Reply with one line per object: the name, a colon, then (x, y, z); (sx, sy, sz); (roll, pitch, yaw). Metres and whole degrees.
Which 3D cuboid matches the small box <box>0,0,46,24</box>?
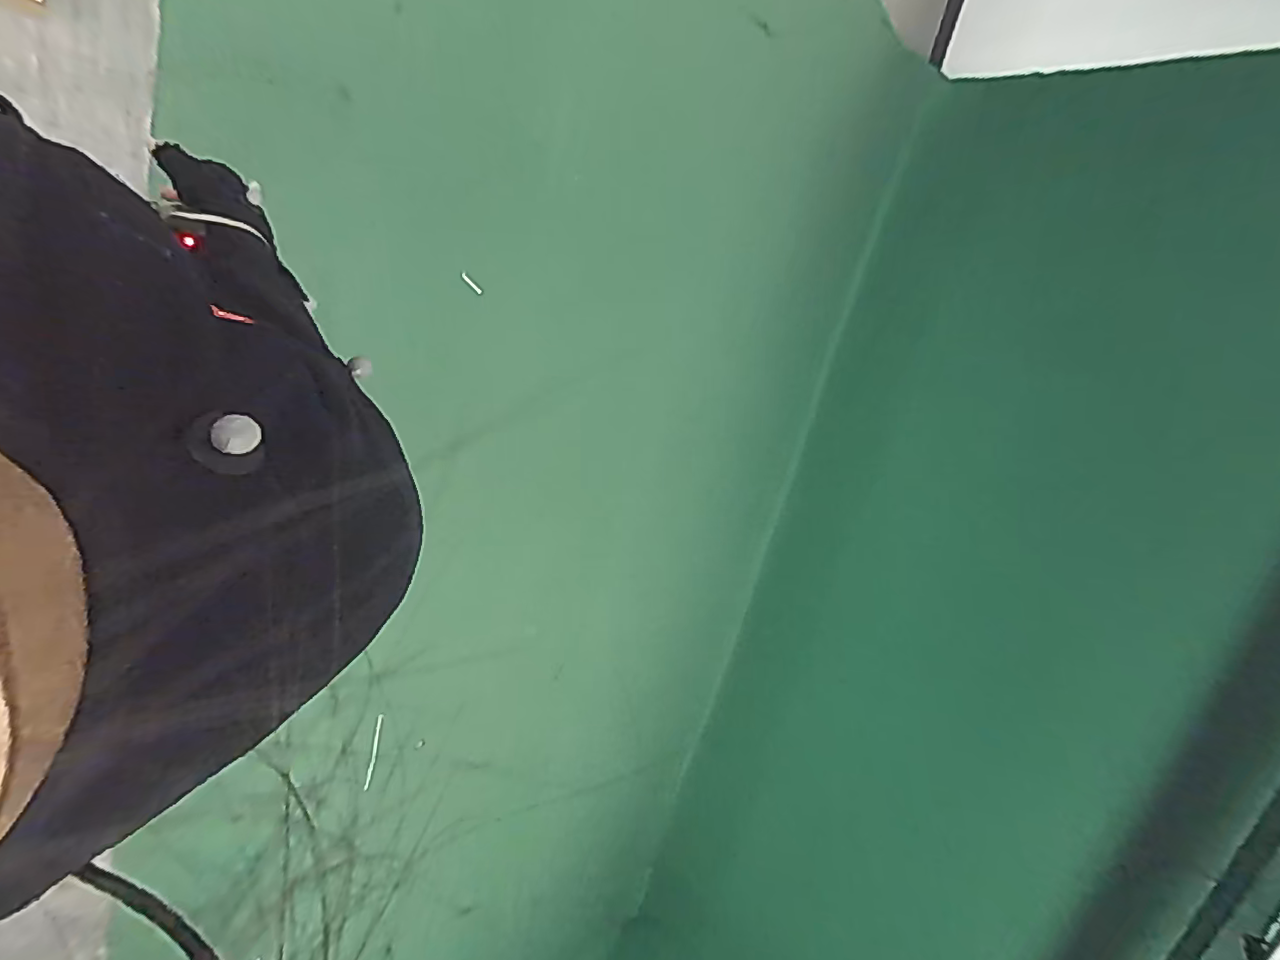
small box: (-0.950, -0.797, 0.759); (0.168, 0.176, 0.179); (6, 107, -50)
